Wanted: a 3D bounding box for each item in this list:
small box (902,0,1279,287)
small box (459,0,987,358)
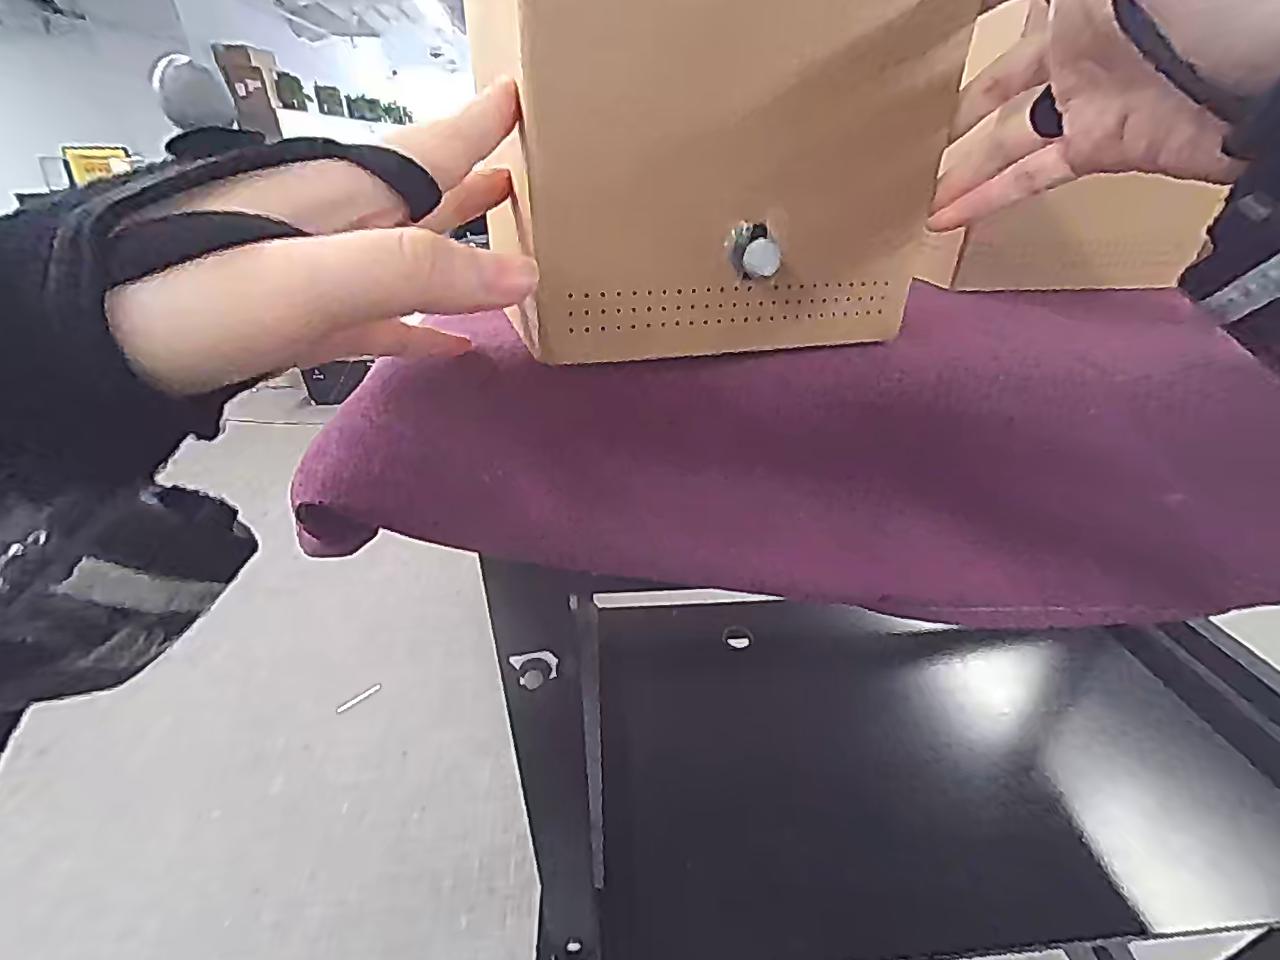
[{"bbox_3d":[0.287,-0.244,0.392,0.179,0.176,0.168,-3,31,-4],"label":"small box"},{"bbox_3d":[0.016,-0.162,0.247,0.179,0.176,0.168,-8,31,-18],"label":"small box"}]
